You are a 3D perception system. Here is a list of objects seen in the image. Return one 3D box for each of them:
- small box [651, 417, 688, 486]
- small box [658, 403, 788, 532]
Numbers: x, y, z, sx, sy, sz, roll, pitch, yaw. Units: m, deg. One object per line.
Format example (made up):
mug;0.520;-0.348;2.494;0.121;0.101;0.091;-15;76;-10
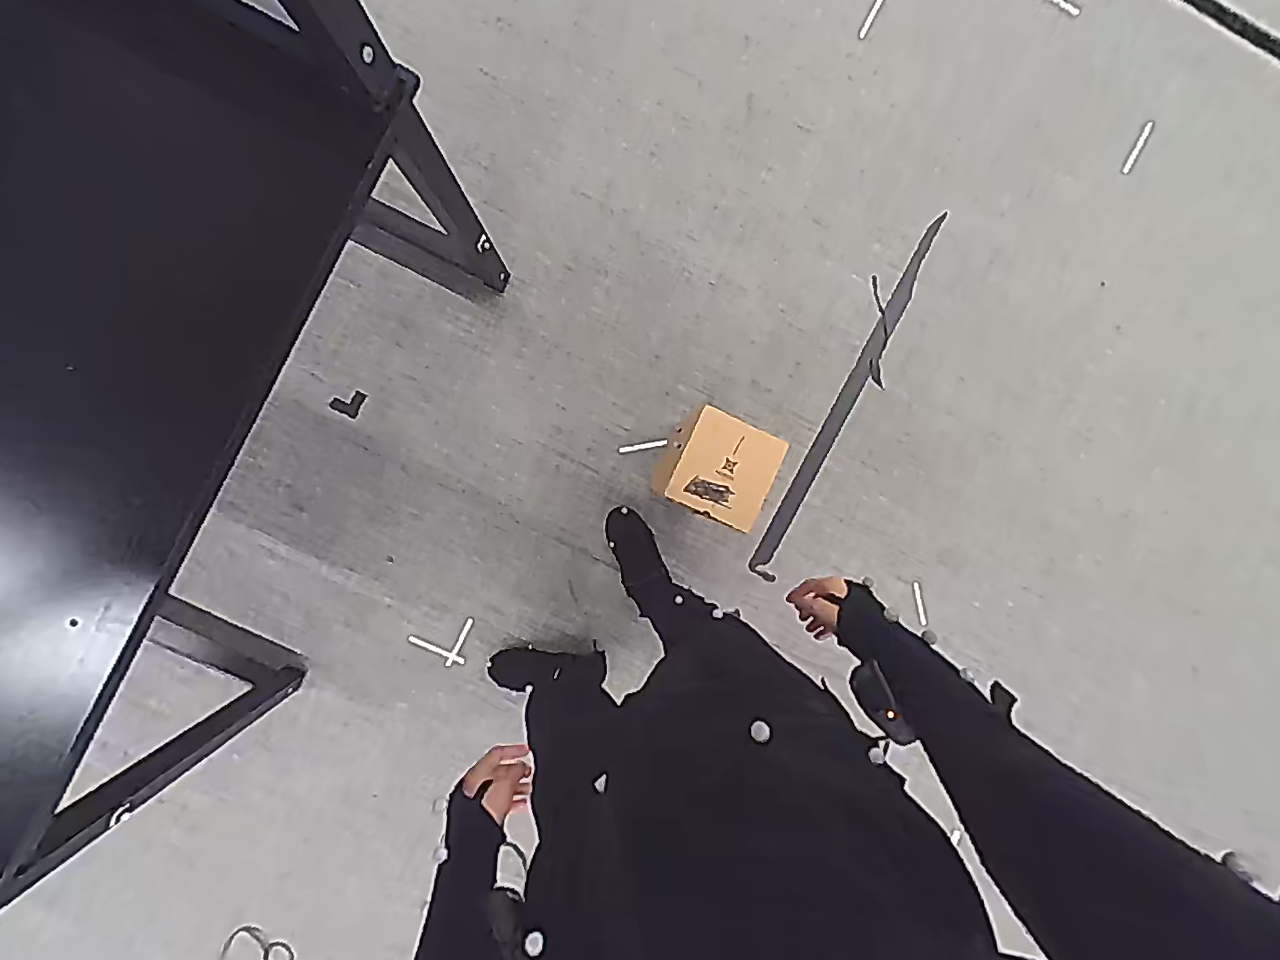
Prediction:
small box;0.134;-0.038;1.332;0.168;0.176;0.179;26;91;-4
small box;0.143;-0.024;1.003;0.168;0.176;0.179;25;90;-5
